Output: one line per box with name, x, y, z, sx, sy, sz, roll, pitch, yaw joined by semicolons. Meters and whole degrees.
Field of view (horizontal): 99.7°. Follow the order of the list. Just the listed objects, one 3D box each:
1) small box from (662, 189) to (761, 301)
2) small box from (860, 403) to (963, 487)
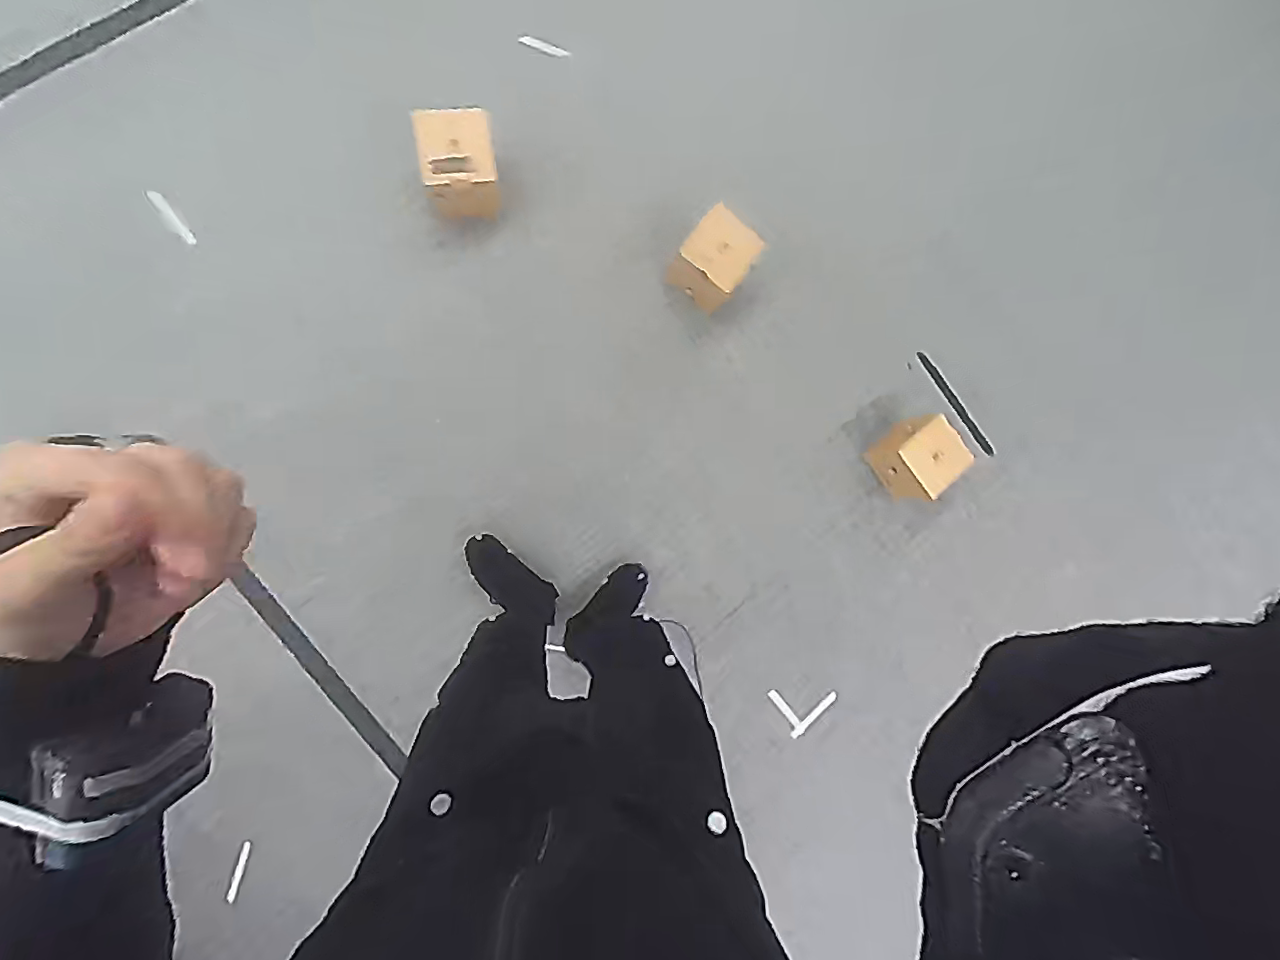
small box;0.178;-0.609;1.423;0.168;0.176;0.179;39;84;-9
small box;0.759;-0.094;1.540;0.179;0.176;0.168;-40;97;-9
